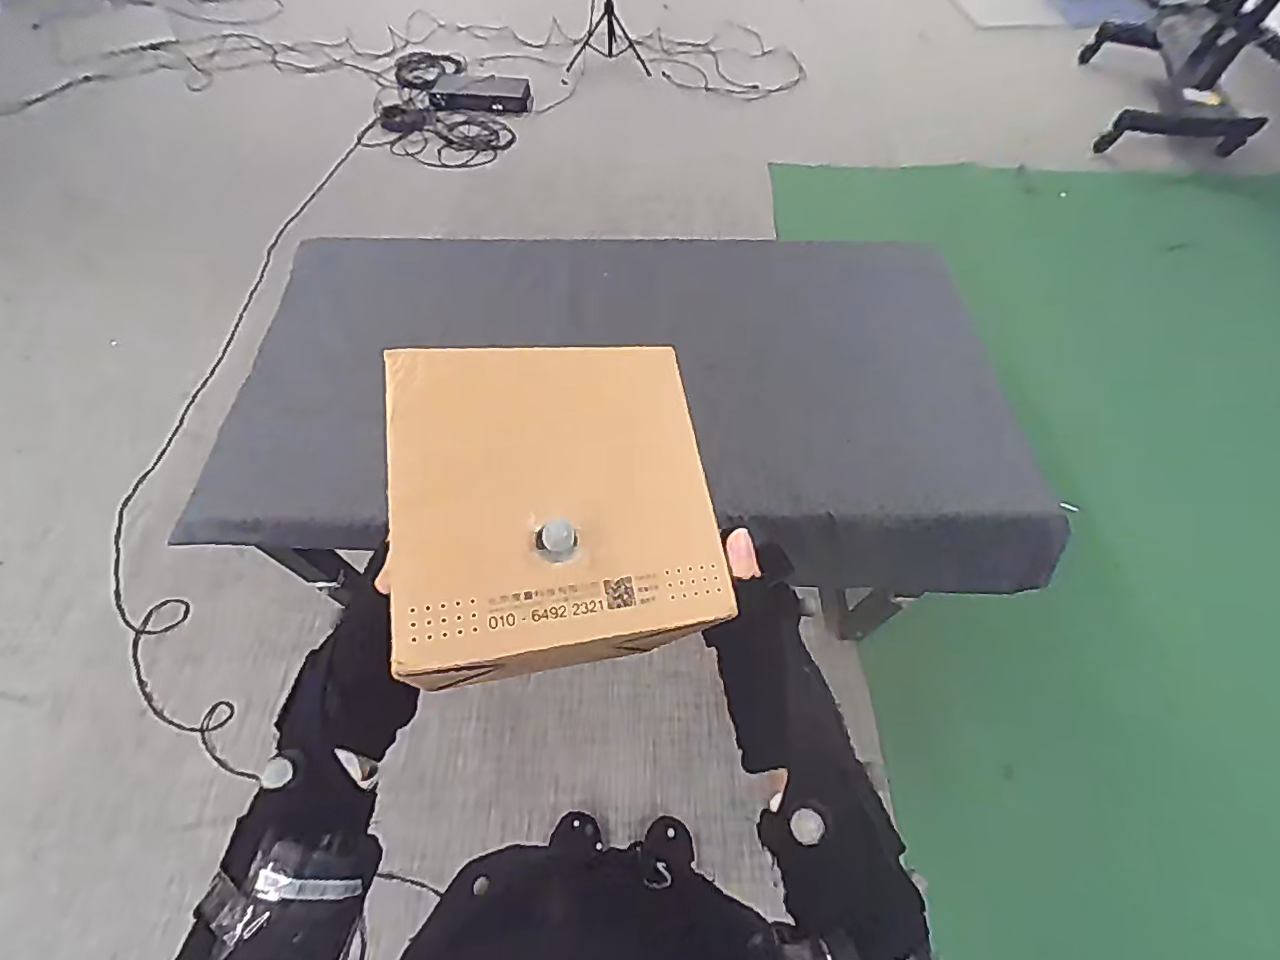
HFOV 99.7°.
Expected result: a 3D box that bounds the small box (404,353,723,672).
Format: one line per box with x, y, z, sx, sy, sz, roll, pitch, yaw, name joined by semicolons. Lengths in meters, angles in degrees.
-0.061;0.032;0.375;0.168;0.179;0.176;-6;70;-17;small box
